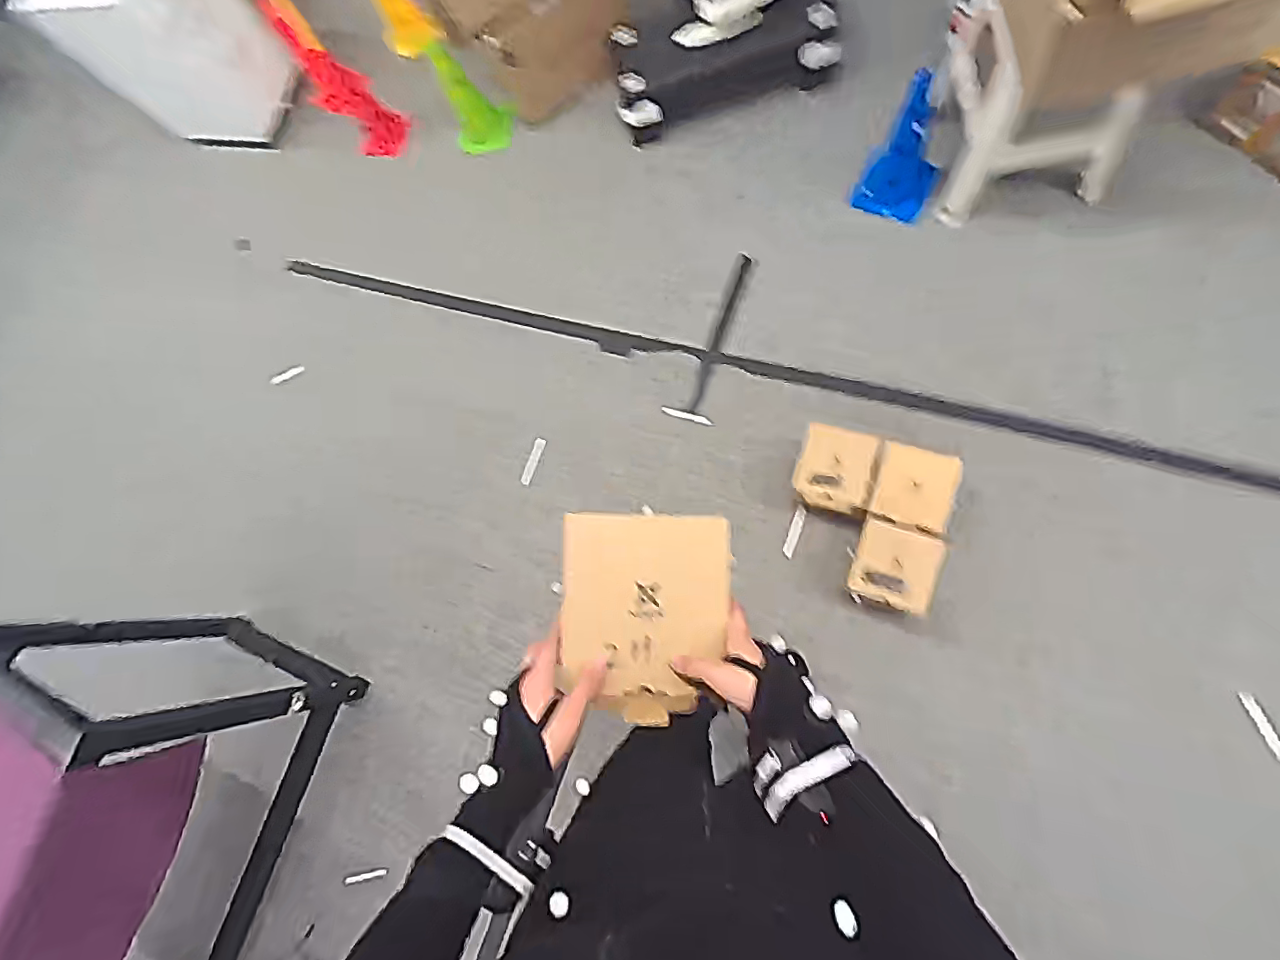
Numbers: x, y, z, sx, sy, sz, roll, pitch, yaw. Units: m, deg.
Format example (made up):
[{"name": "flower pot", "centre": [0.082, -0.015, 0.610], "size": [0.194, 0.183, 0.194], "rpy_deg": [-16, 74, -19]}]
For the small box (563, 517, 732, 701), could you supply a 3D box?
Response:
[{"name": "small box", "centre": [0.004, 0.137, 0.612], "size": [0.168, 0.176, 0.179], "rpy_deg": [2, 83, -3]}]
